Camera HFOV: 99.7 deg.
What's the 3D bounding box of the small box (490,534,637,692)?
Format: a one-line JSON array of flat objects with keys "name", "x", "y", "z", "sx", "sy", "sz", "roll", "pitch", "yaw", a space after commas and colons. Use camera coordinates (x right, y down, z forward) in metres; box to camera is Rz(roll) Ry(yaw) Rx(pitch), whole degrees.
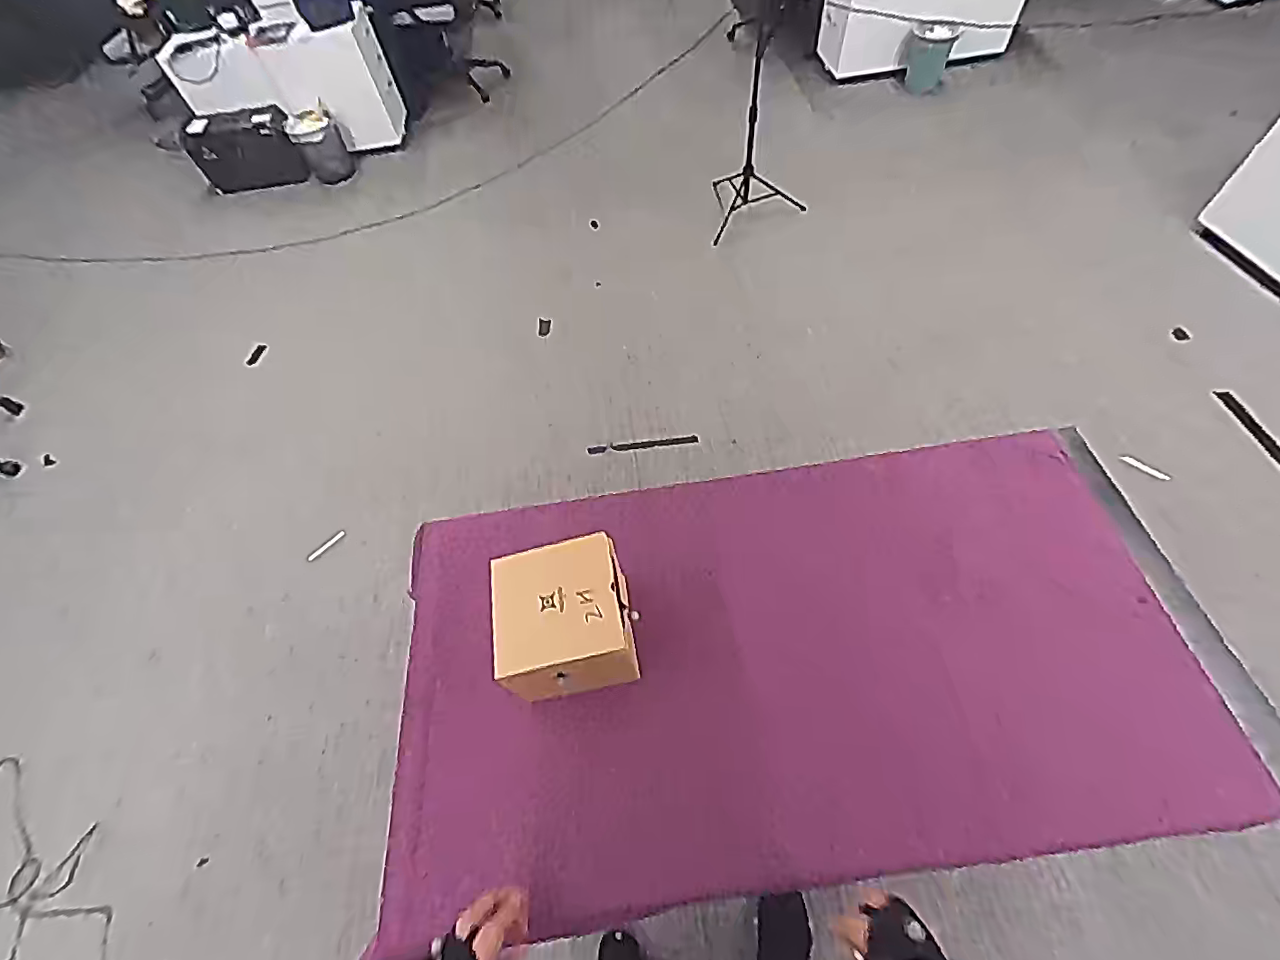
[{"name": "small box", "x": -0.107, "y": 0.200, "z": 0.791, "sx": 0.179, "sy": 0.176, "sz": 0.168, "roll": -10, "pitch": 59, "yaw": -2}]
